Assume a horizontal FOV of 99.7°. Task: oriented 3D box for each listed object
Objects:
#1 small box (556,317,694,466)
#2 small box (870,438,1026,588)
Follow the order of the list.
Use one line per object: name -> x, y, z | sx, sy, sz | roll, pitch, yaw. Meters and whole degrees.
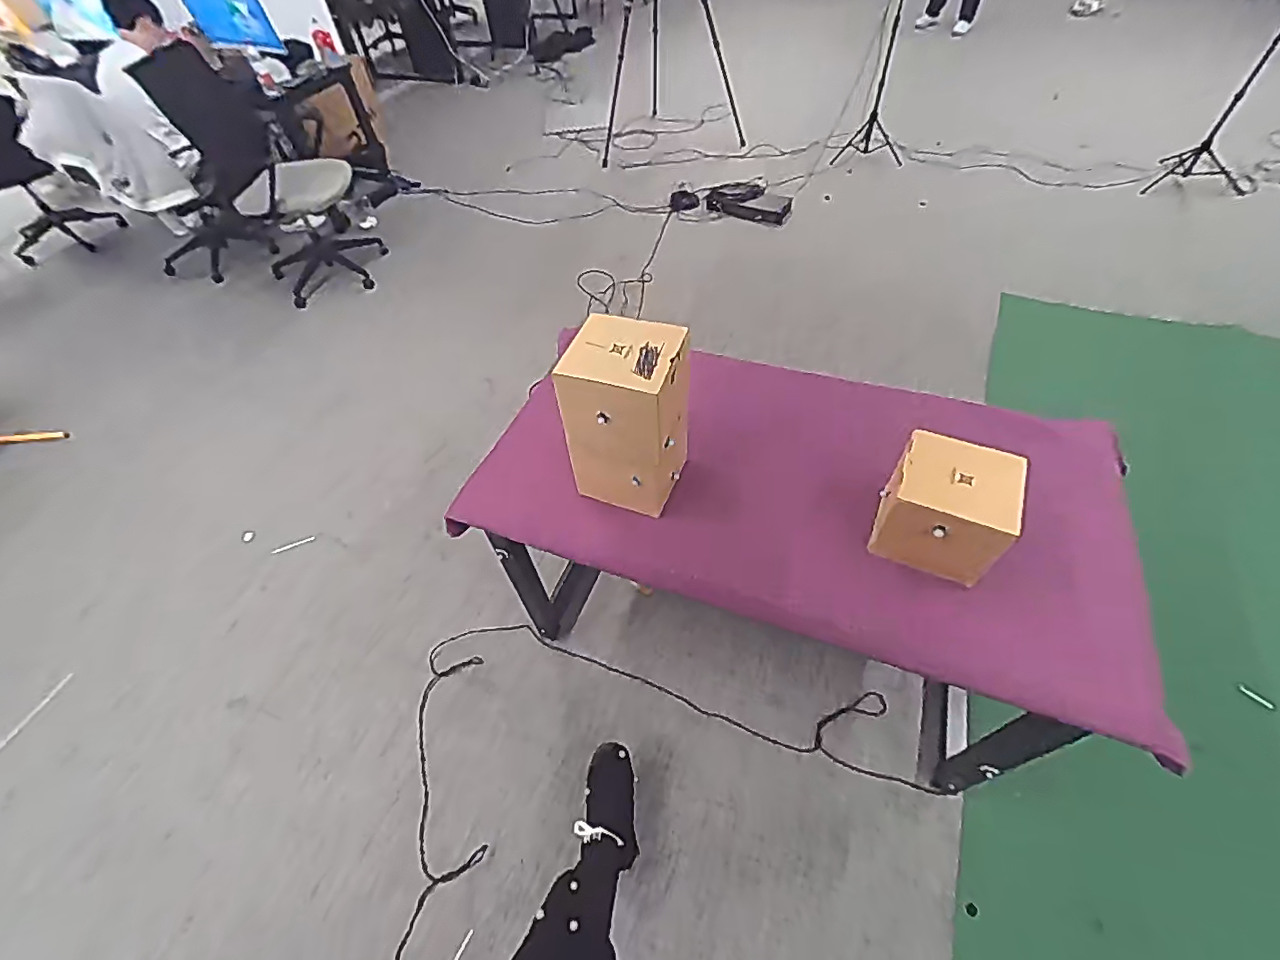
small box -> -0.017, -0.145, 0.912 | 0.179, 0.176, 0.168 | 14, 54, 14
small box -> 0.520, 0.062, 0.927 | 0.179, 0.176, 0.168 | 20, 56, 19
